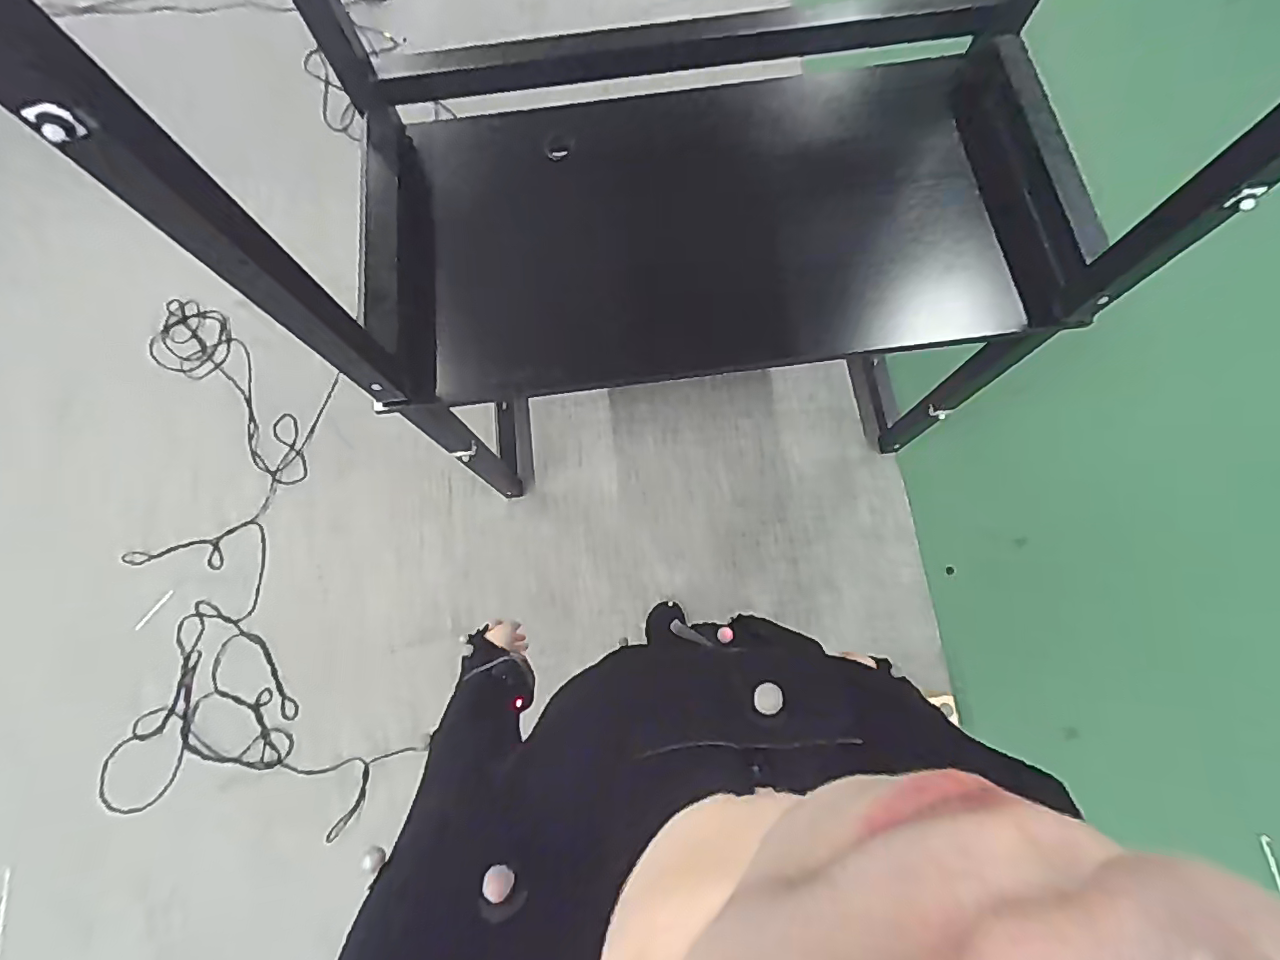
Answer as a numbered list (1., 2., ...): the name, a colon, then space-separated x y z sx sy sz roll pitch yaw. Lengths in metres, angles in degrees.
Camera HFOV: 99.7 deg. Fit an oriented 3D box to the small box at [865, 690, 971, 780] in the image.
1. small box: 0.668 0.614 1.321 0.168 0.176 0.179 -3 76 2
